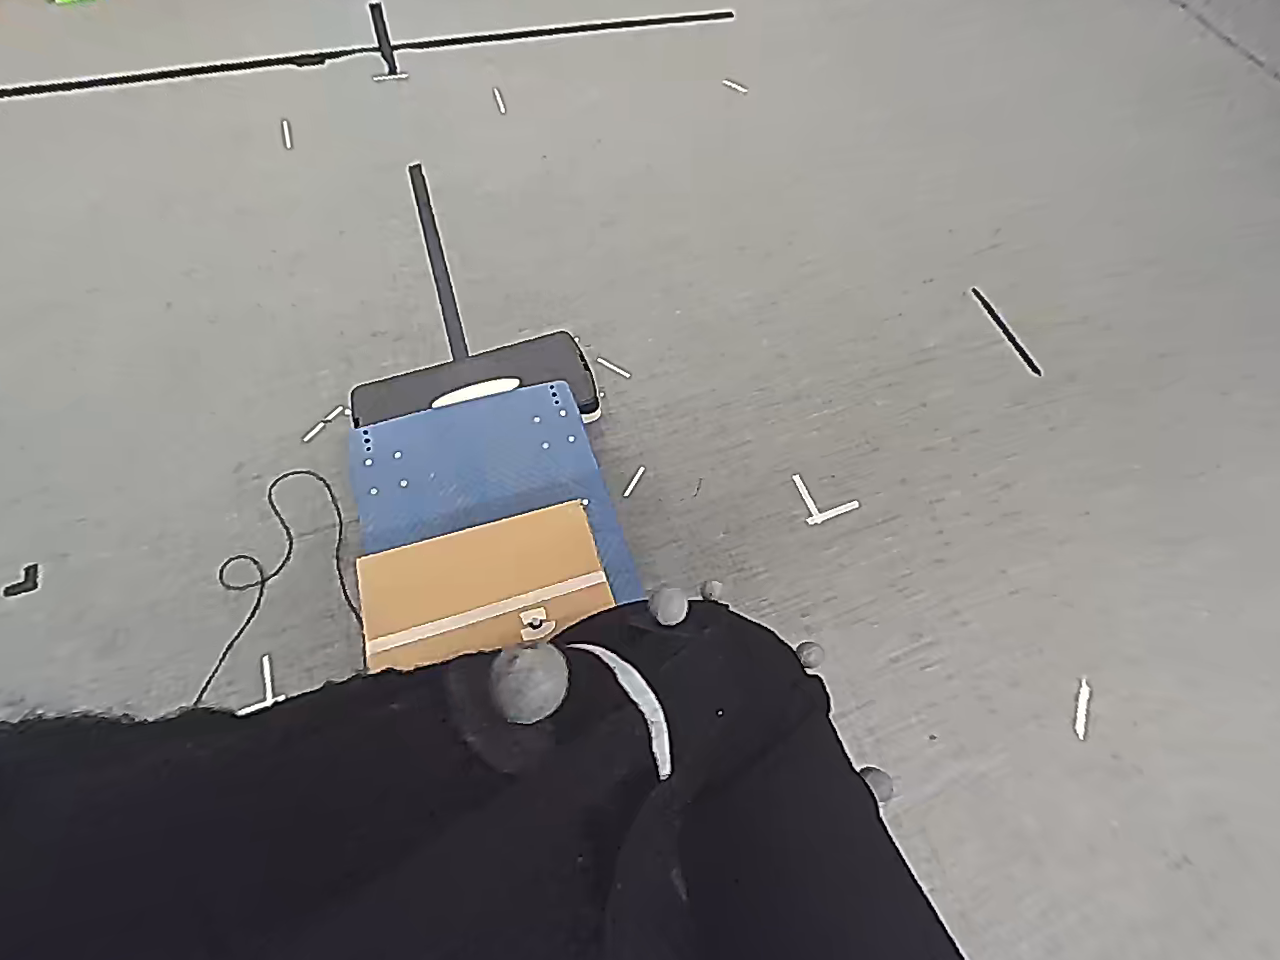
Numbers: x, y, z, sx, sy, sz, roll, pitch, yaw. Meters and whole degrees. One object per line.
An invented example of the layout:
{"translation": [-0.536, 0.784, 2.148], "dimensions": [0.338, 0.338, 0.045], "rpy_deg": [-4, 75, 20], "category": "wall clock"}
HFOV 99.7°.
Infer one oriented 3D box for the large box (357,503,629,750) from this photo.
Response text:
{"translation": [-0.267, 0.289, 1.046], "dimensions": [0.408, 0.320, 0.320], "rpy_deg": [-15, 69, -13], "category": "large box"}
